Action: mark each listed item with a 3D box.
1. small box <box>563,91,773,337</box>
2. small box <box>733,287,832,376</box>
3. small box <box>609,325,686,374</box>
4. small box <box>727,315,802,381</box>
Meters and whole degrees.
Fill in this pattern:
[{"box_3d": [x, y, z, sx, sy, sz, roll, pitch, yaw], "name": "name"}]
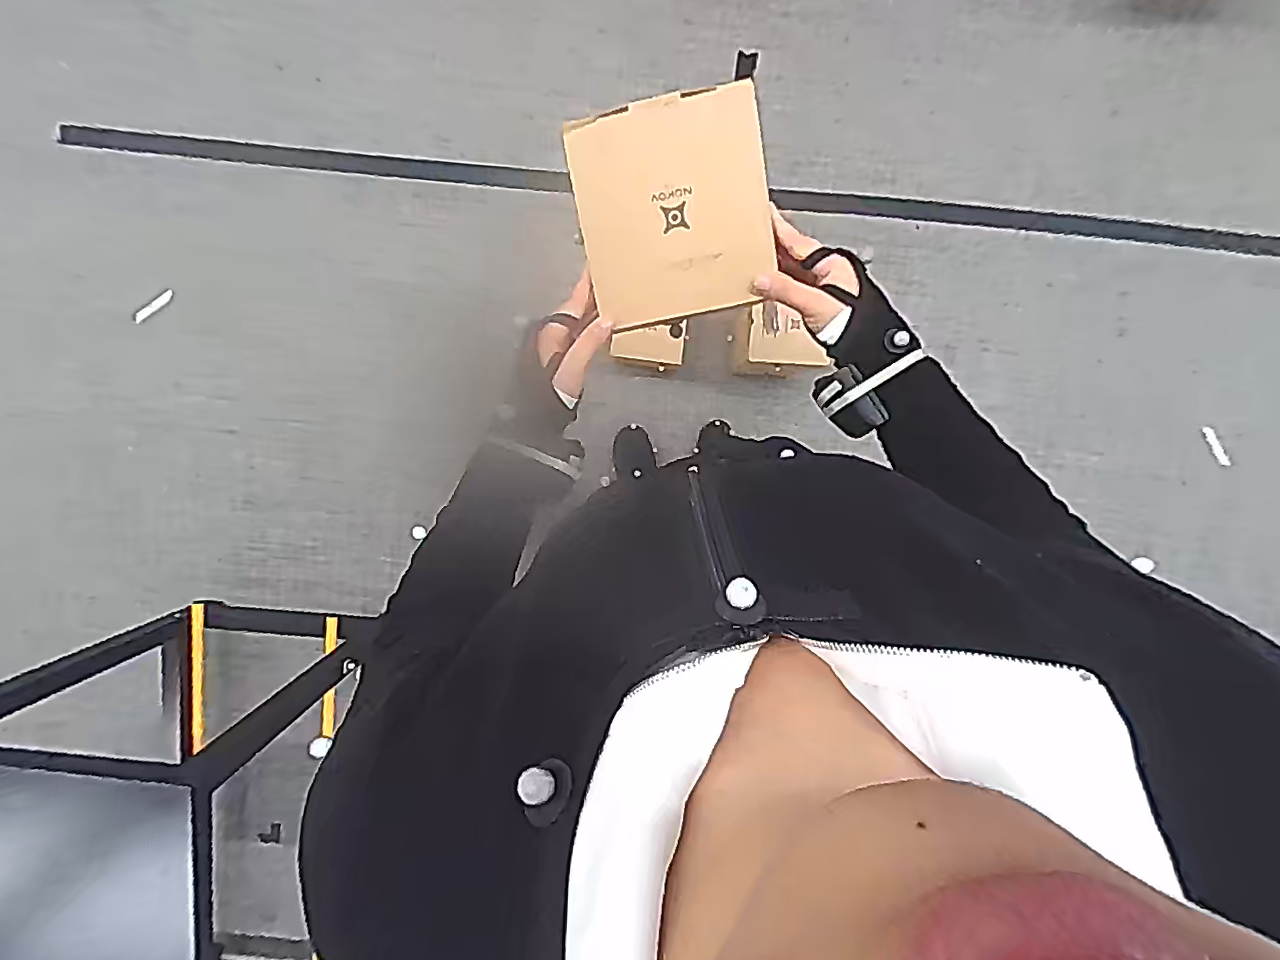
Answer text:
[{"box_3d": [0.029, -0.250, 0.556, 0.168, 0.176, 0.179, -10, 104, 5], "name": "small box"}, {"box_3d": [0.311, -0.326, 1.215, 0.179, 0.176, 0.168, 4, 97, -1], "name": "small box"}, {"box_3d": [0.022, -0.367, 1.378, 0.179, 0.176, 0.168, 7, 96, 0], "name": "small box"}, {"box_3d": [0.320, -0.348, 1.379, 0.168, 0.176, 0.179, 4, 97, 0], "name": "small box"}]
